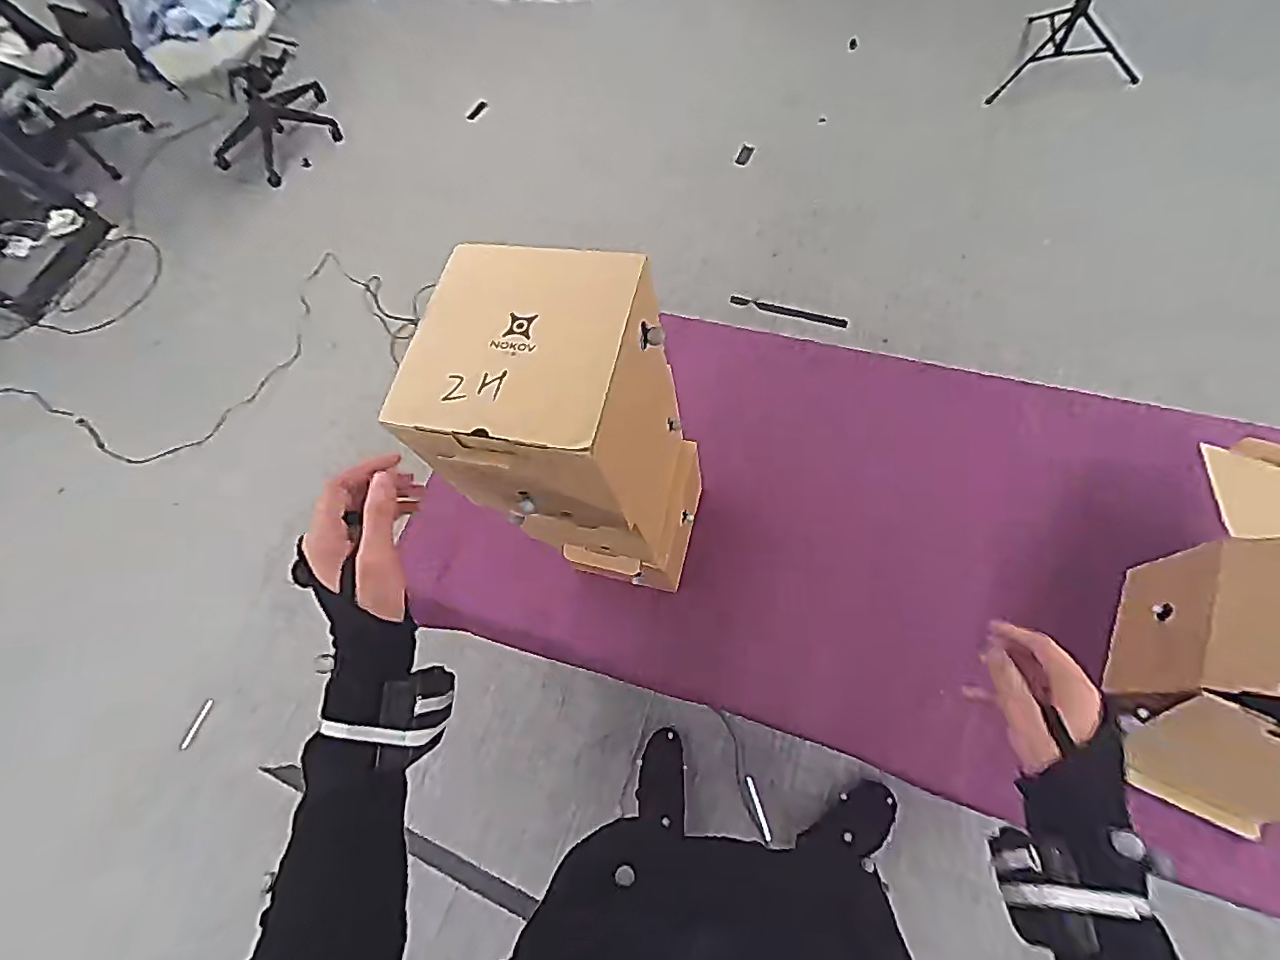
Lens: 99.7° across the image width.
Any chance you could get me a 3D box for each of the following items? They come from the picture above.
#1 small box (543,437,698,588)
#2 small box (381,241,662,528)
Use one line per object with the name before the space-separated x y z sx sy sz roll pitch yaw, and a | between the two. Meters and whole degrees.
small box | -0.015 0.044 0.778 0.168 0.176 0.179 12 70 13
small box | -0.080 -0.076 0.476 0.168 0.176 0.179 10 70 13
